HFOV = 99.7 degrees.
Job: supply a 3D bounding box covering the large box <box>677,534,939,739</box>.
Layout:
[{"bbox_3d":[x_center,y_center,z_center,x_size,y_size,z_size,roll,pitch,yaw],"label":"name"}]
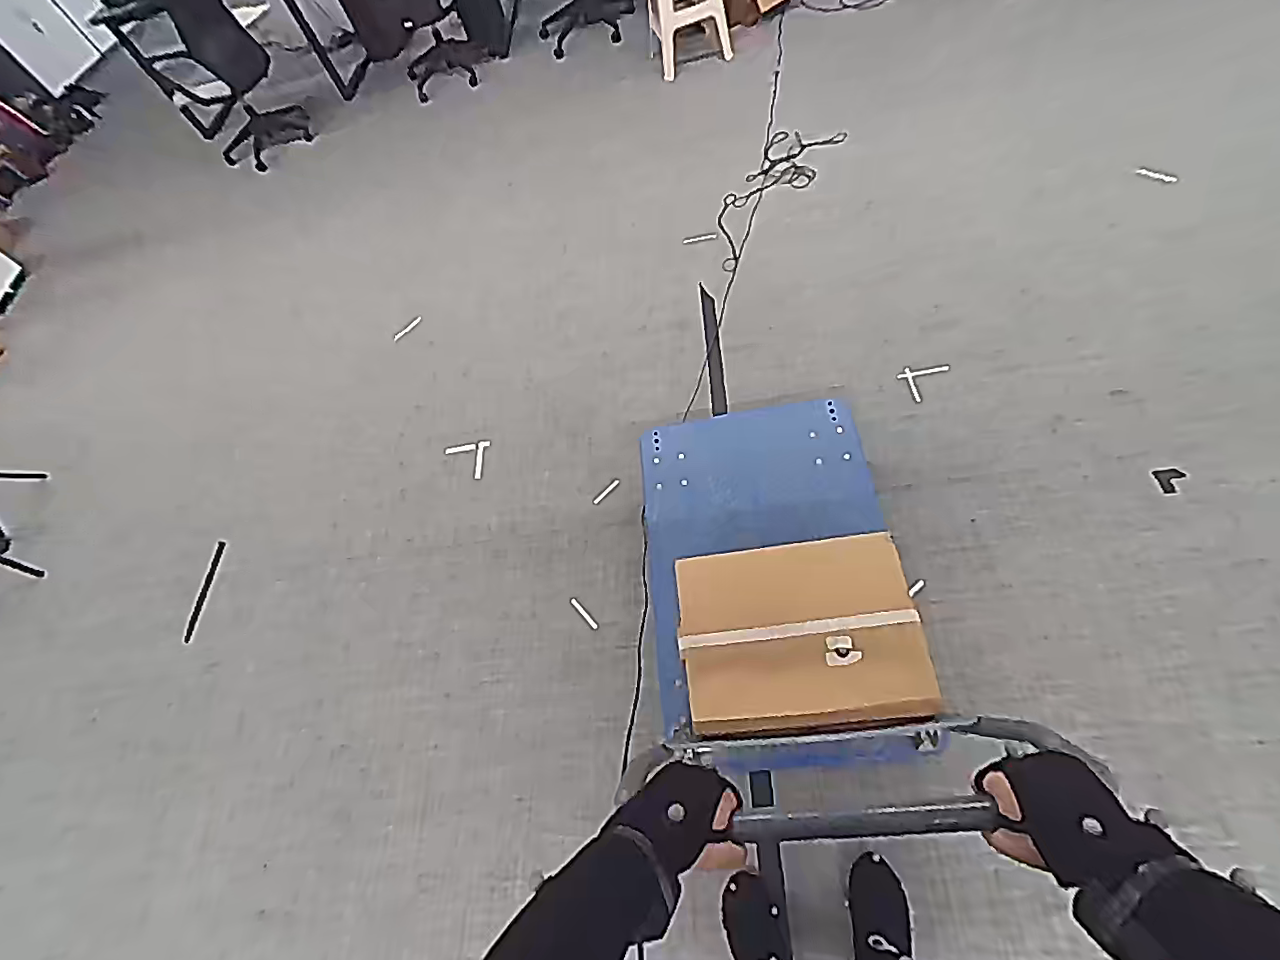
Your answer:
[{"bbox_3d":[0.307,0.333,1.097,0.408,0.320,0.320,-9,63,8],"label":"large box"}]
